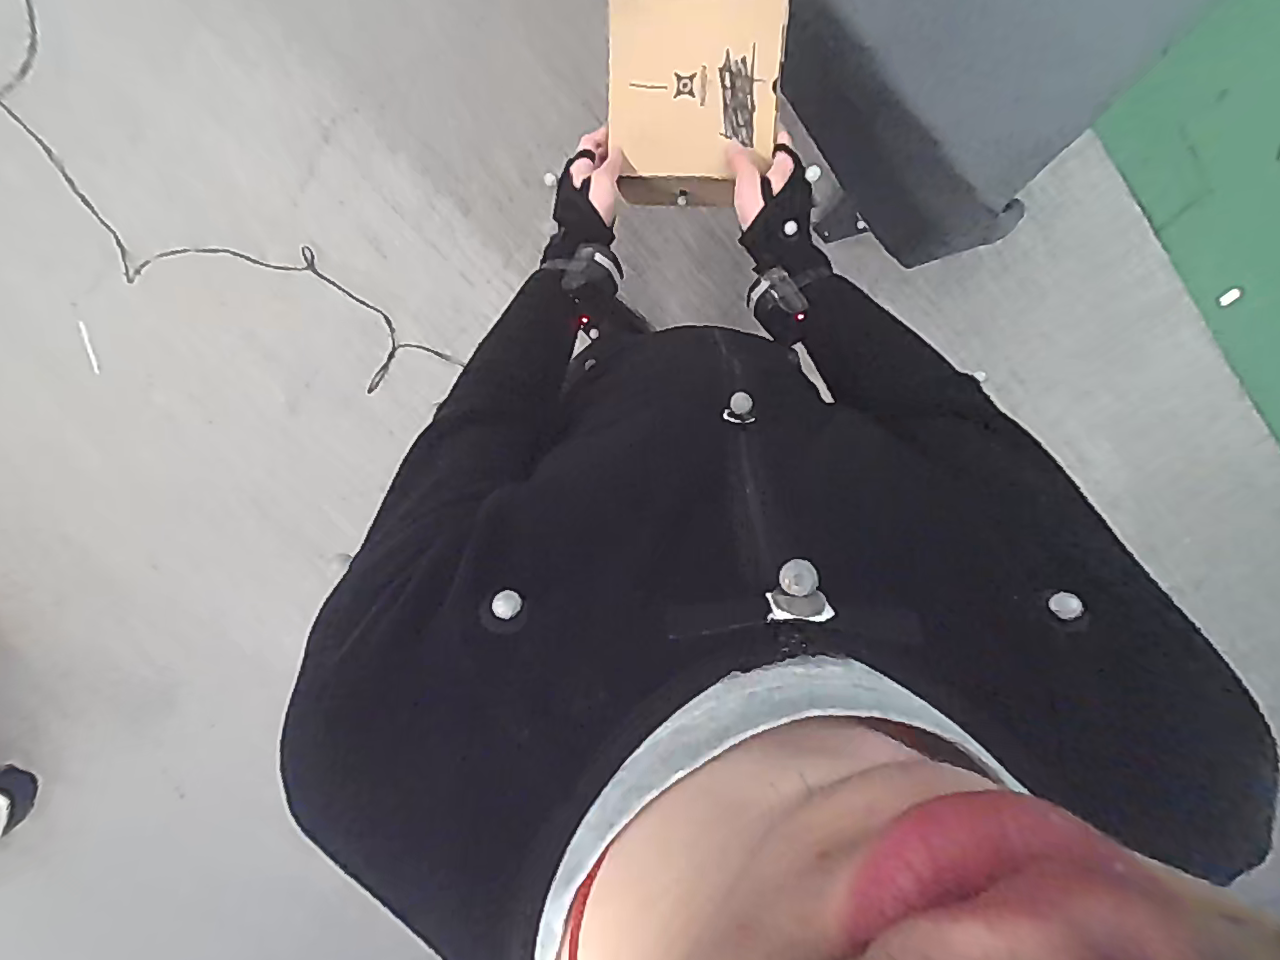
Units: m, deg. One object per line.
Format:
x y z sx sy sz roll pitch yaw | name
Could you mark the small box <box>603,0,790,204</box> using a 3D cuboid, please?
0.057 -0.418 0.606 0.179 0.176 0.168 3 107 4 | small box
